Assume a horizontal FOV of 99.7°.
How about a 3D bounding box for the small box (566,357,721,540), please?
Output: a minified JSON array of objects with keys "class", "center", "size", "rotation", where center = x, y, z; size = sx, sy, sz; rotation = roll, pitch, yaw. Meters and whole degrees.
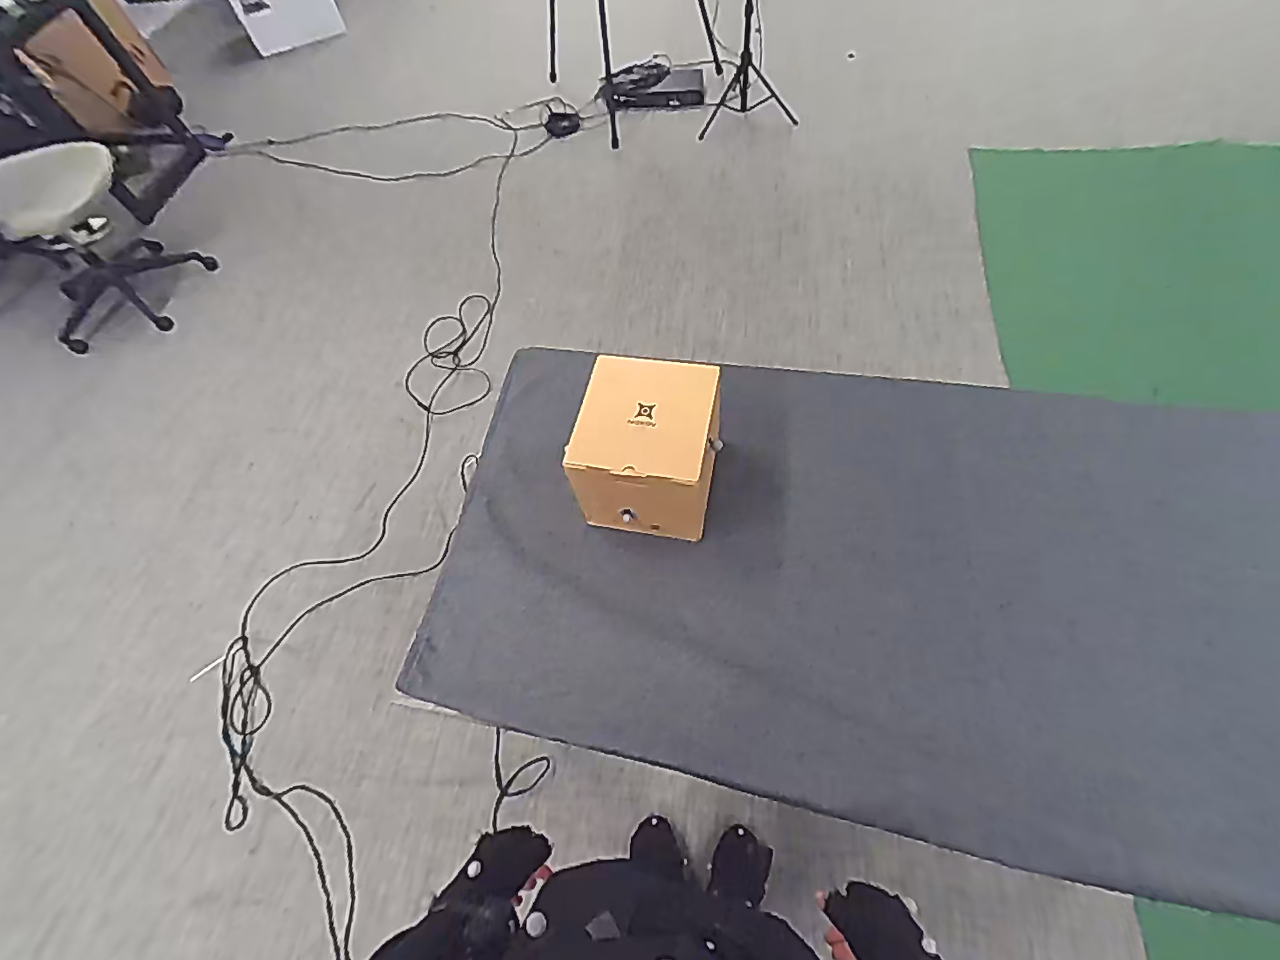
[{"class":"small box","center":[0.014,-0.039,0.737],"size":[0.168,0.176,0.179],"rotation":[8,63,11]}]
